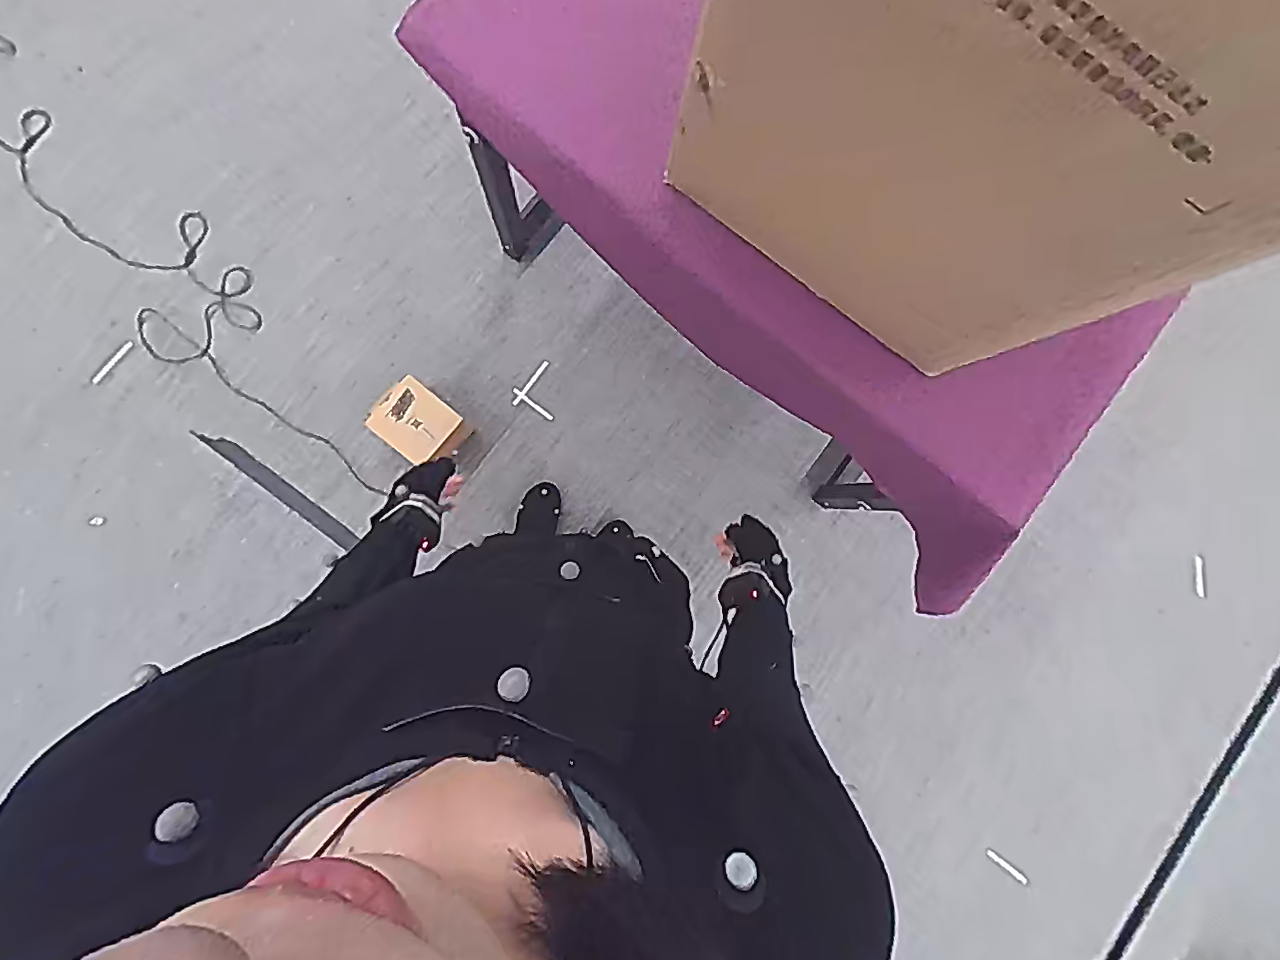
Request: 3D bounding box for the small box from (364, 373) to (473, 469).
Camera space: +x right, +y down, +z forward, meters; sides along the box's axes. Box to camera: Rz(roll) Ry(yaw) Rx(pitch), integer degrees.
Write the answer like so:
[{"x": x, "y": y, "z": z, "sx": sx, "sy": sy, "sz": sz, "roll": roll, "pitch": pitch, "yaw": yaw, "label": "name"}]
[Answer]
[{"x": -0.562, "y": -0.142, "z": 1.395, "sx": 0.179, "sy": 0.176, "sz": 0.168, "roll": 41, "pitch": 84, "yaw": -3, "label": "small box"}]
